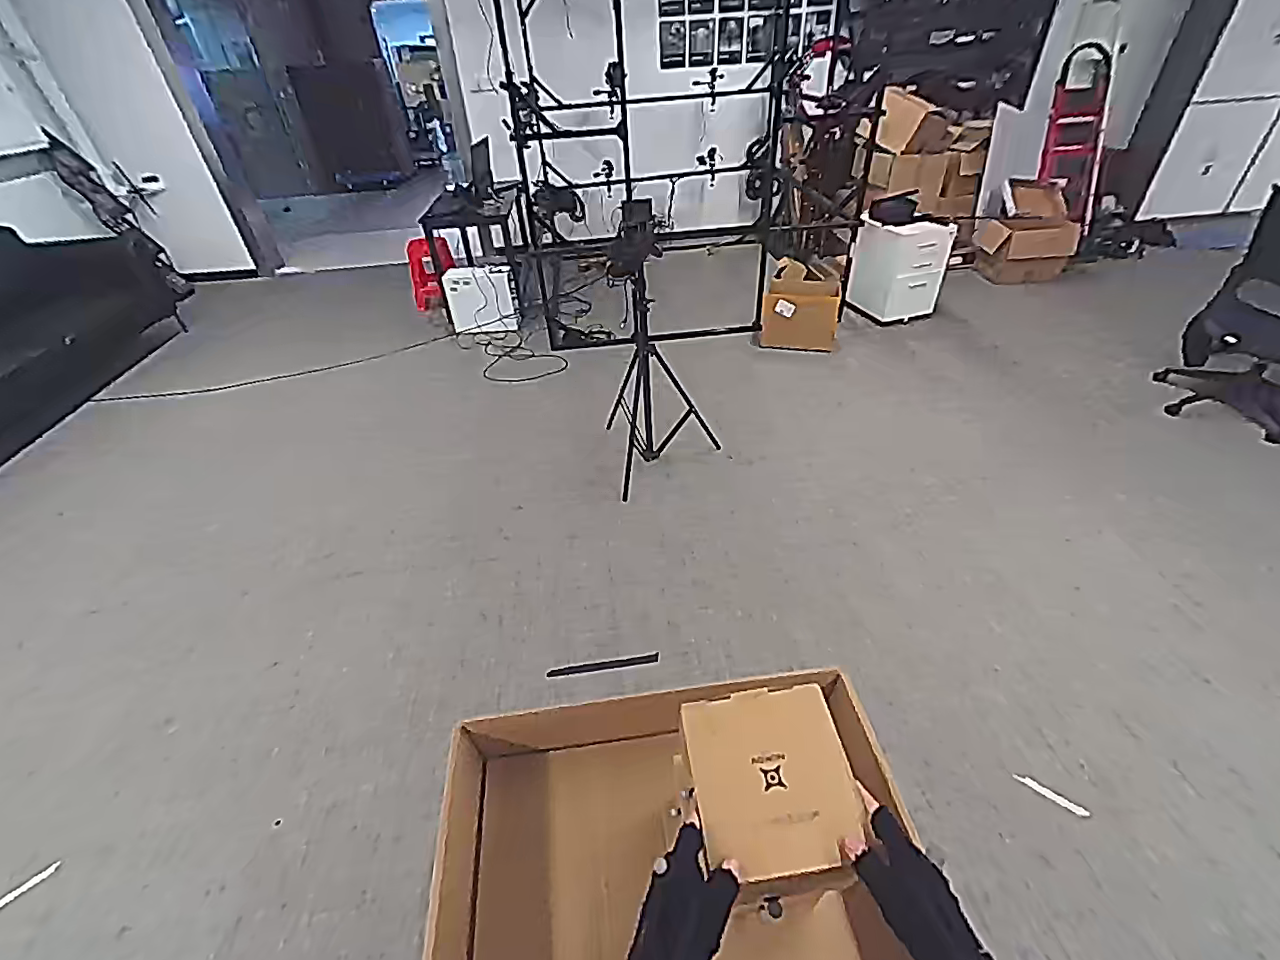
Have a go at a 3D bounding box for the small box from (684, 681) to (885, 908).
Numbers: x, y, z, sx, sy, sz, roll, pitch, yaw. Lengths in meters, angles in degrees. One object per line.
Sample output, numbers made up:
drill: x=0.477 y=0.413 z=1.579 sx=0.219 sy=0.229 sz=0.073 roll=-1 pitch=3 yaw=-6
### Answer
small box: x=0.144 y=0.359 z=0.618 sx=0.168 sy=0.176 sz=0.179 roll=-9 pitch=46 yaw=-2

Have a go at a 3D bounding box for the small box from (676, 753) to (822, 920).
small box: x=0.147 y=0.483 z=0.748 sx=0.179 sy=0.176 sz=0.168 roll=-8 pitch=43 yaw=-3
